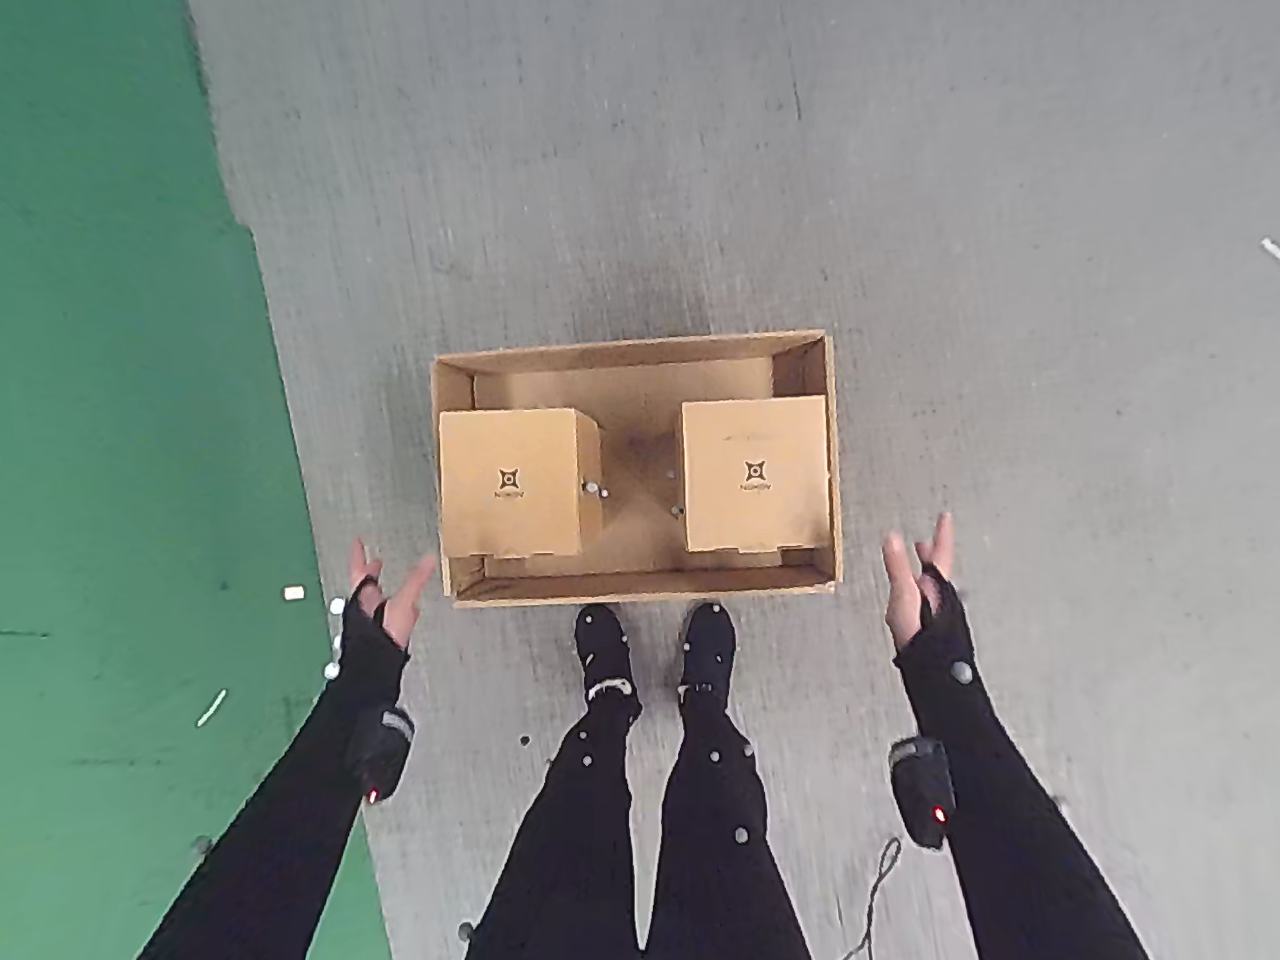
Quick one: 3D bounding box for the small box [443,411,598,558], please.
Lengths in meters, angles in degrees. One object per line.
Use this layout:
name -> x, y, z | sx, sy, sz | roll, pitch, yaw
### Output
small box -> -0.150, 0.006, 0.727 | 0.168, 0.176, 0.179 | -2, 91, 4

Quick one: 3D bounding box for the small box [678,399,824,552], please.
small box -> 0.134, -0.005, 0.704 | 0.168, 0.176, 0.179 | -2, 90, 3

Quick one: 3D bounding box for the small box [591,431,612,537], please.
small box -> -0.143, 0.007, 0.890 | 0.179, 0.176, 0.168 | 0, 91, 3
